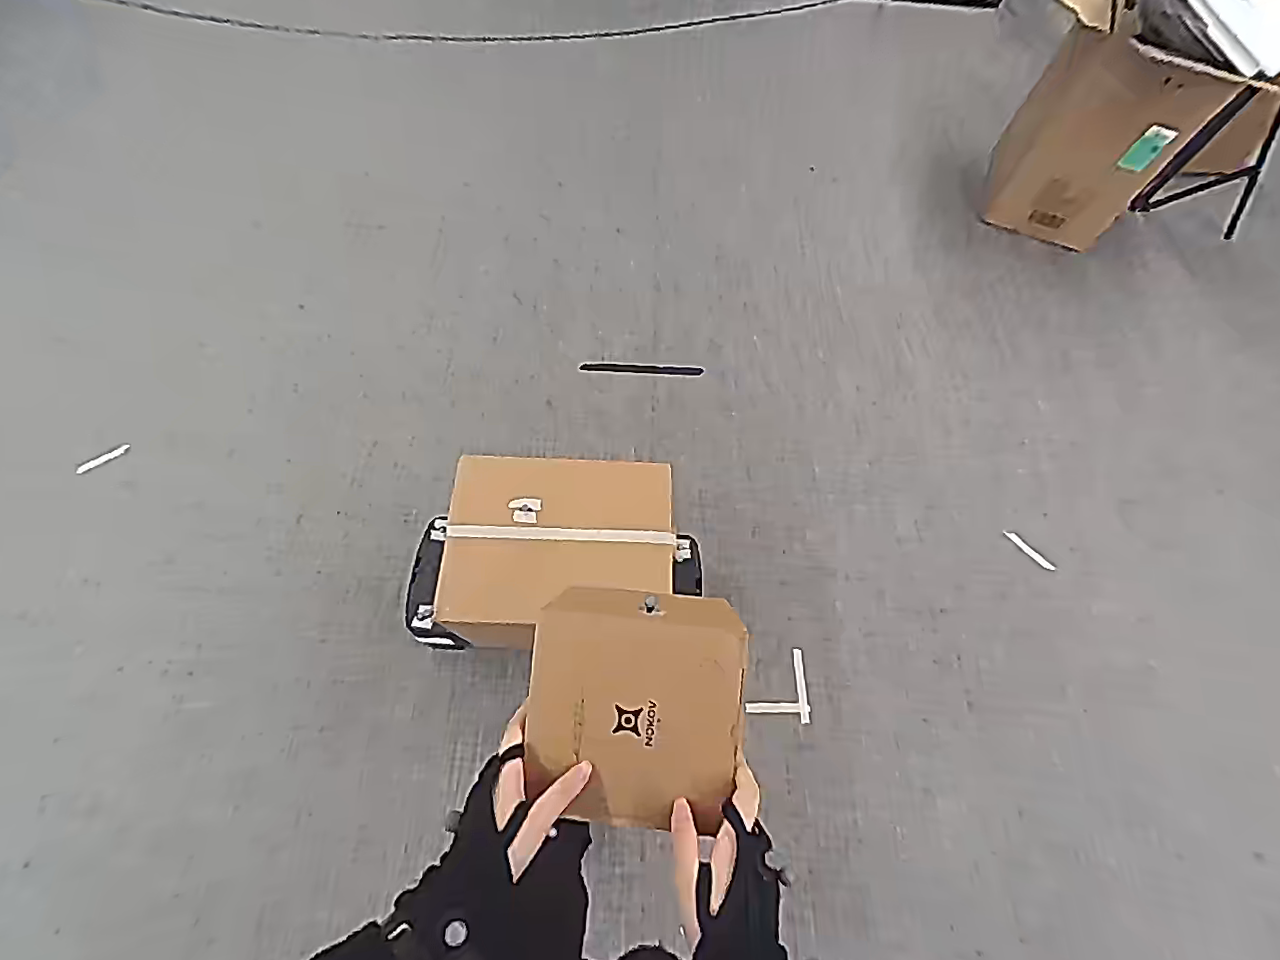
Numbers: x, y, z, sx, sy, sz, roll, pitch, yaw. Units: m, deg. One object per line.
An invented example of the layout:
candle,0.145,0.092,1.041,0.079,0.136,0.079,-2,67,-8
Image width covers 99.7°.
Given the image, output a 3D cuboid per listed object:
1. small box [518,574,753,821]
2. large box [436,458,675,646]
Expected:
small box,0.000,0.186,0.517,0.179,0.176,0.168,7,86,3
large box,-0.141,0.163,1.094,0.408,0.320,0.320,2,64,-1
